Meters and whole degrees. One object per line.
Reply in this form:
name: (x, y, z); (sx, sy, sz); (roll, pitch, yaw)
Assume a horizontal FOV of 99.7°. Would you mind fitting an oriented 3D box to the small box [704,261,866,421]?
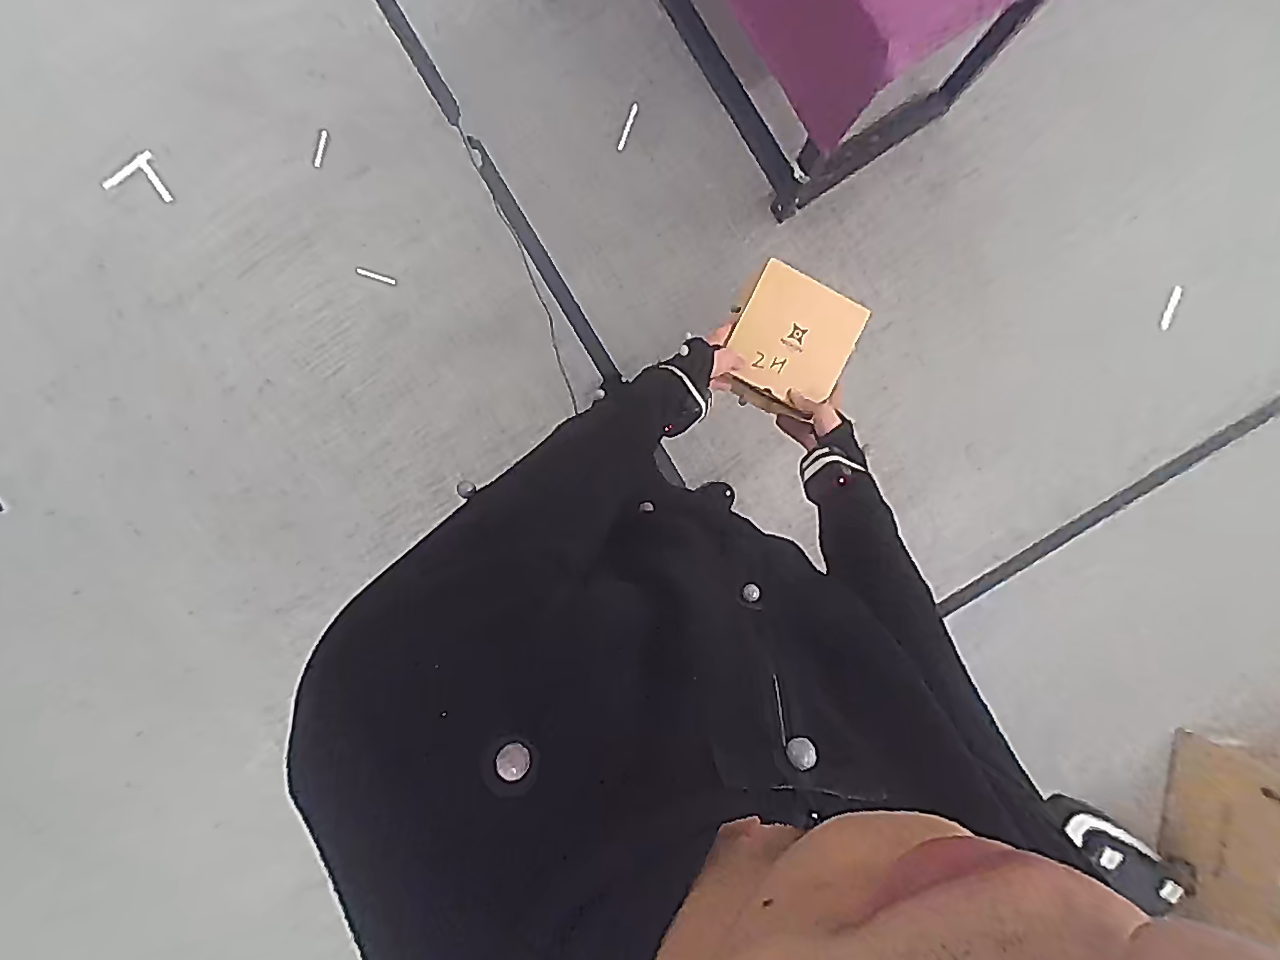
small box: (0.213, -0.208, 0.854); (0.168, 0.176, 0.179); (27, 97, -3)
